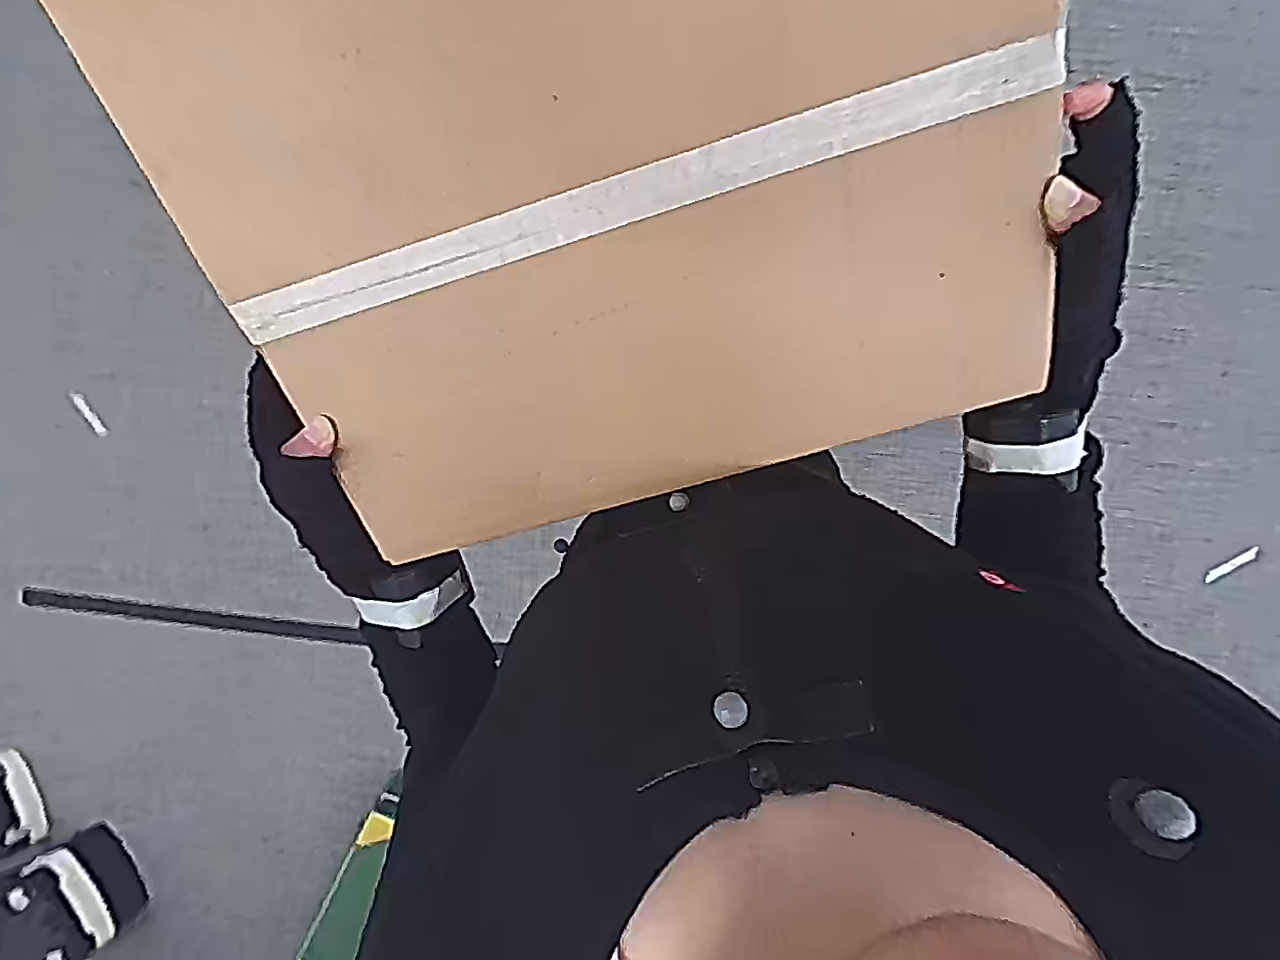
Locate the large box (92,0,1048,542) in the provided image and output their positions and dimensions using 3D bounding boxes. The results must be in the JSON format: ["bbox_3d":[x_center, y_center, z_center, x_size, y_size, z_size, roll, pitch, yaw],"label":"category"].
[{"bbox_3d":[-0.013,-0.205,0.401,0.408,0.320,0.320,-15,117,5],"label":"large box"}]
